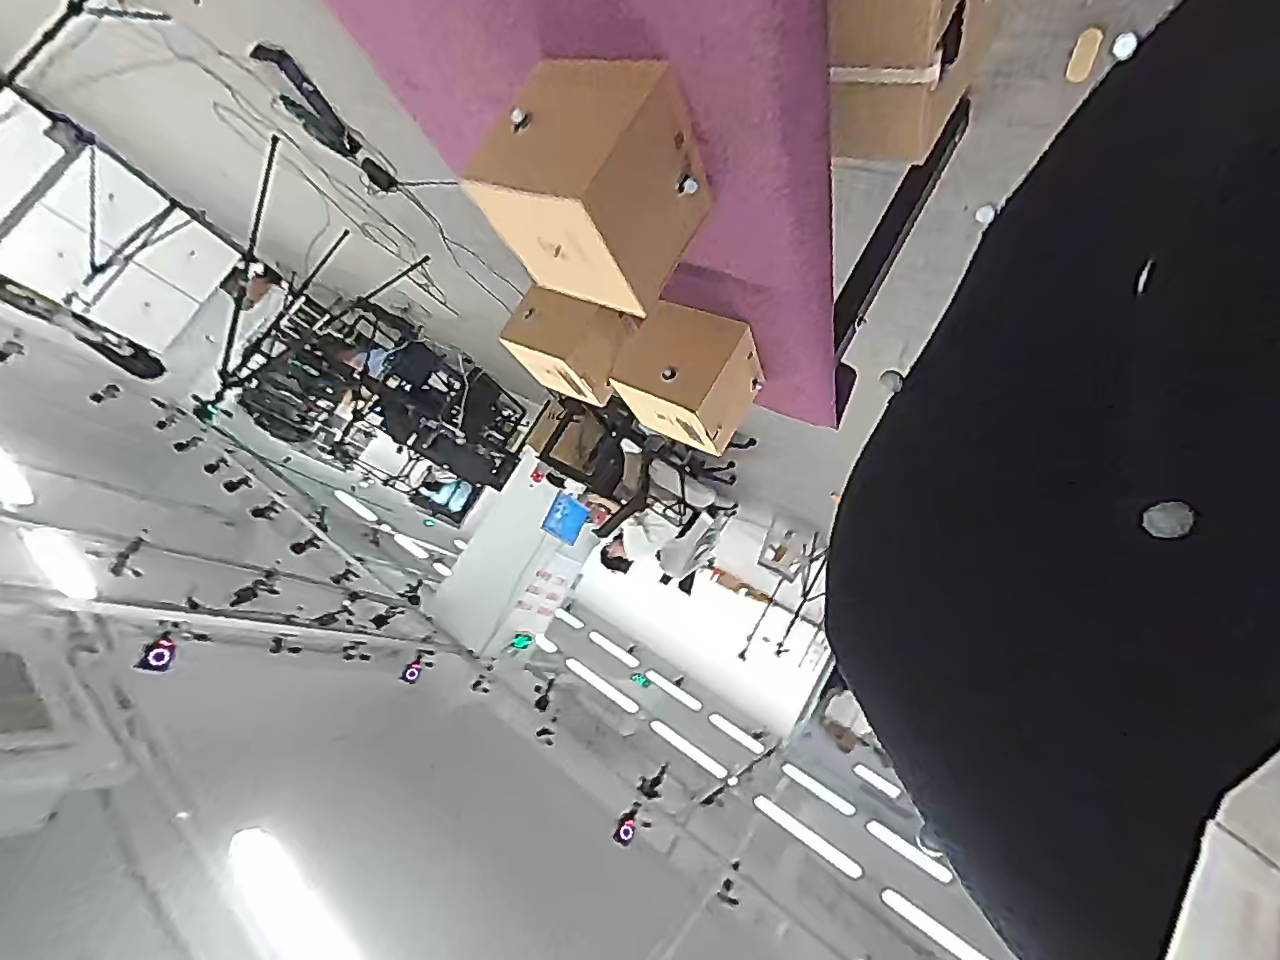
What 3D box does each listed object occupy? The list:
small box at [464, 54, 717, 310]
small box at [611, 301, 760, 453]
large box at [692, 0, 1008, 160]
[{"bbox_3d":[-0.044,-0.322,0.588,0.179,0.176,0.168,26,171,29],"label":"small box"},{"bbox_3d":[0.088,-0.177,0.918,0.179,0.176,0.168,28,170,29],"label":"small box"},{"bbox_3d":[0.358,-0.800,0.909,0.408,0.320,0.320,27,169,30],"label":"large box"}]
